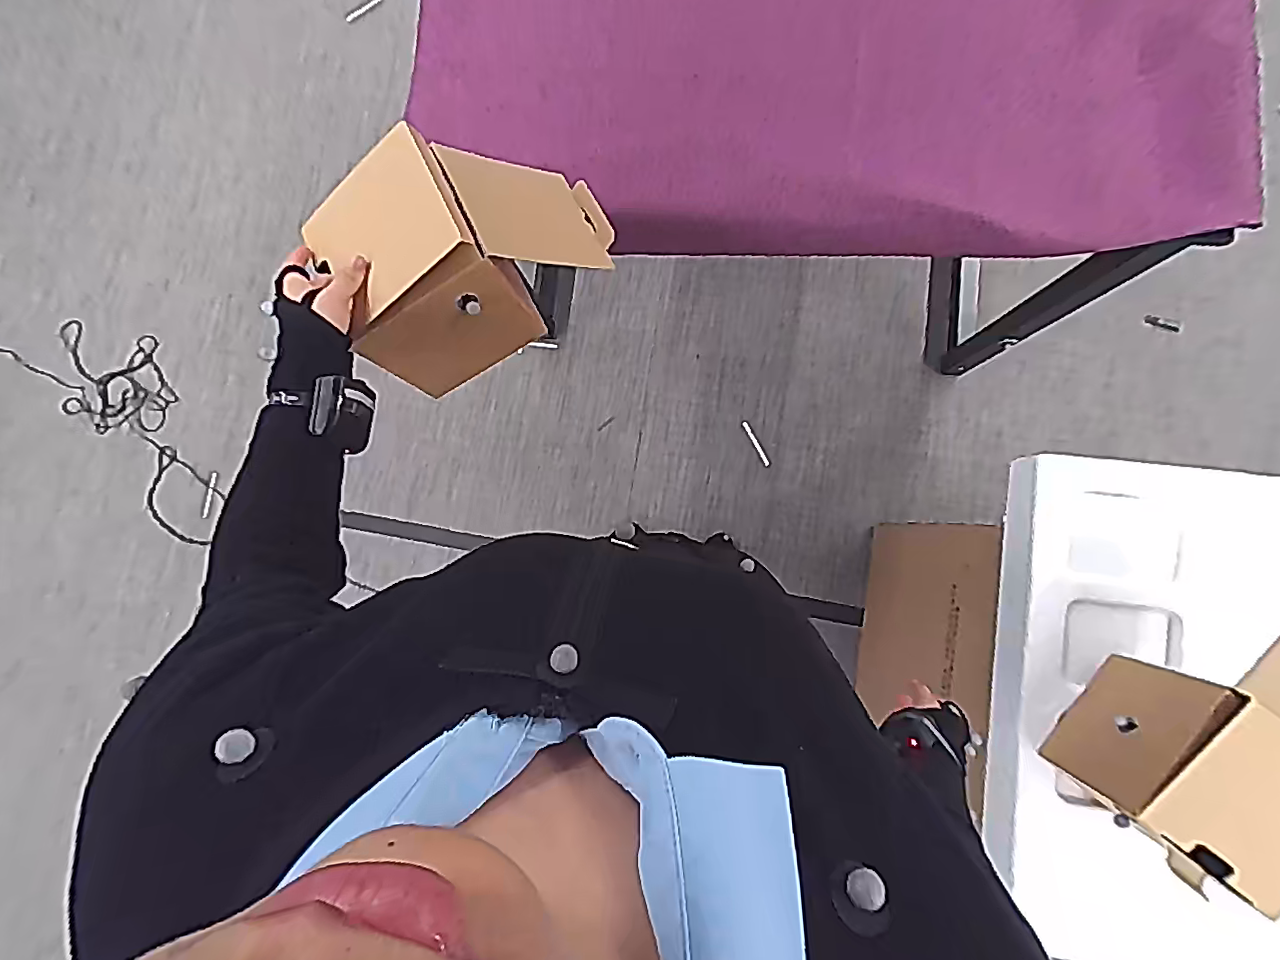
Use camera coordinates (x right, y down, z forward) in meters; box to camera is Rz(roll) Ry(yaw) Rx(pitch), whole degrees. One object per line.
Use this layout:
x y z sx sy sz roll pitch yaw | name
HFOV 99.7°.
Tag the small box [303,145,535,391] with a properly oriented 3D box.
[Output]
-0.245 -0.236 0.642 0.179 0.176 0.168 -29 73 5 | small box
